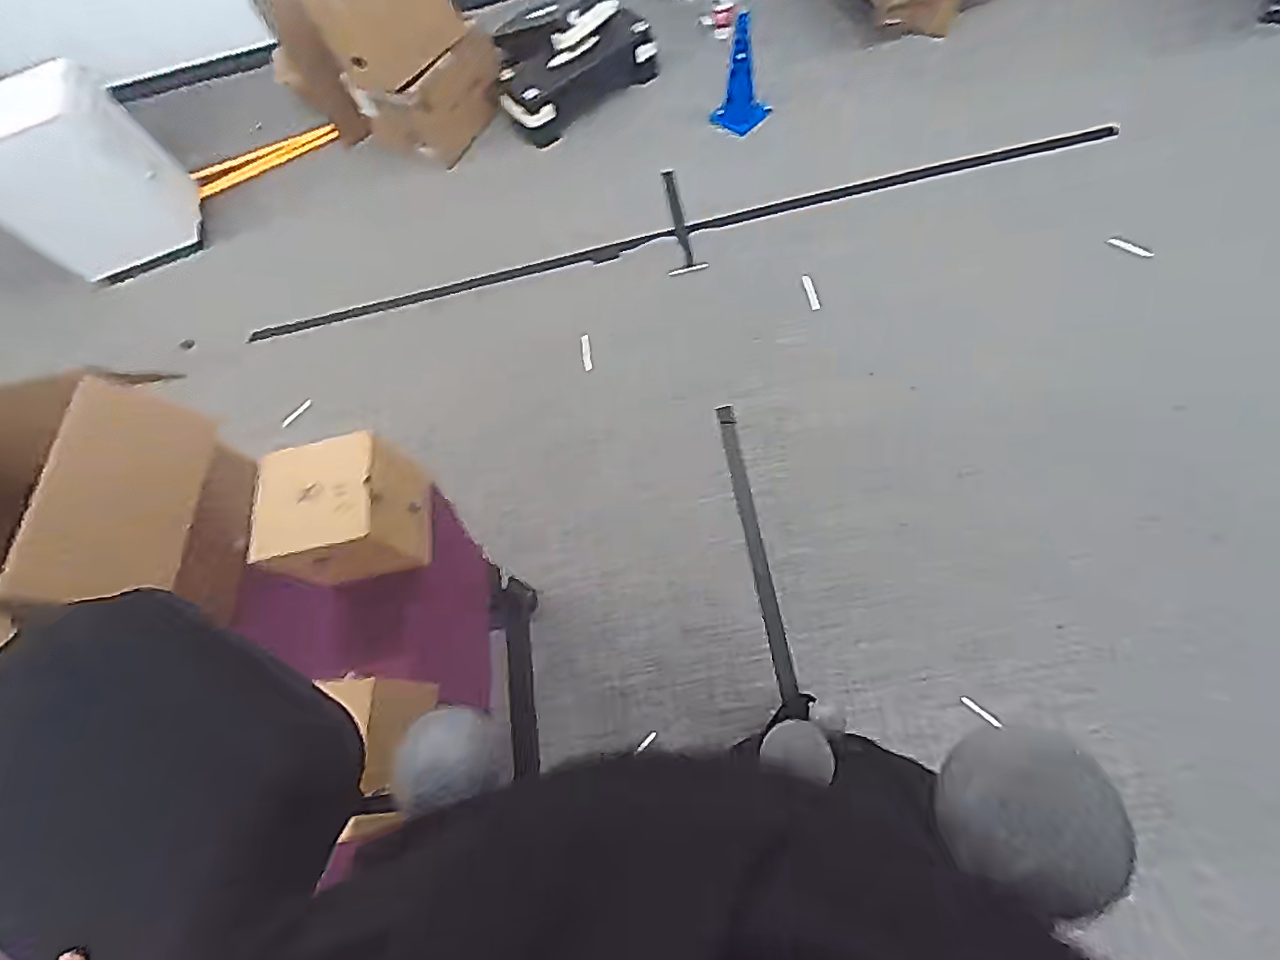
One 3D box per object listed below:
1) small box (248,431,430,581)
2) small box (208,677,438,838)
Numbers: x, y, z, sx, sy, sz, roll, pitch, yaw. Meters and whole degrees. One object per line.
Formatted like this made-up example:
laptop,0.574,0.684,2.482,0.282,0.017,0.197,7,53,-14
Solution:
small box,-0.446,0.049,0.829,0.179,0.176,0.168,-12,67,4
small box,-0.389,0.349,0.697,0.179,0.176,0.168,-5,67,6
